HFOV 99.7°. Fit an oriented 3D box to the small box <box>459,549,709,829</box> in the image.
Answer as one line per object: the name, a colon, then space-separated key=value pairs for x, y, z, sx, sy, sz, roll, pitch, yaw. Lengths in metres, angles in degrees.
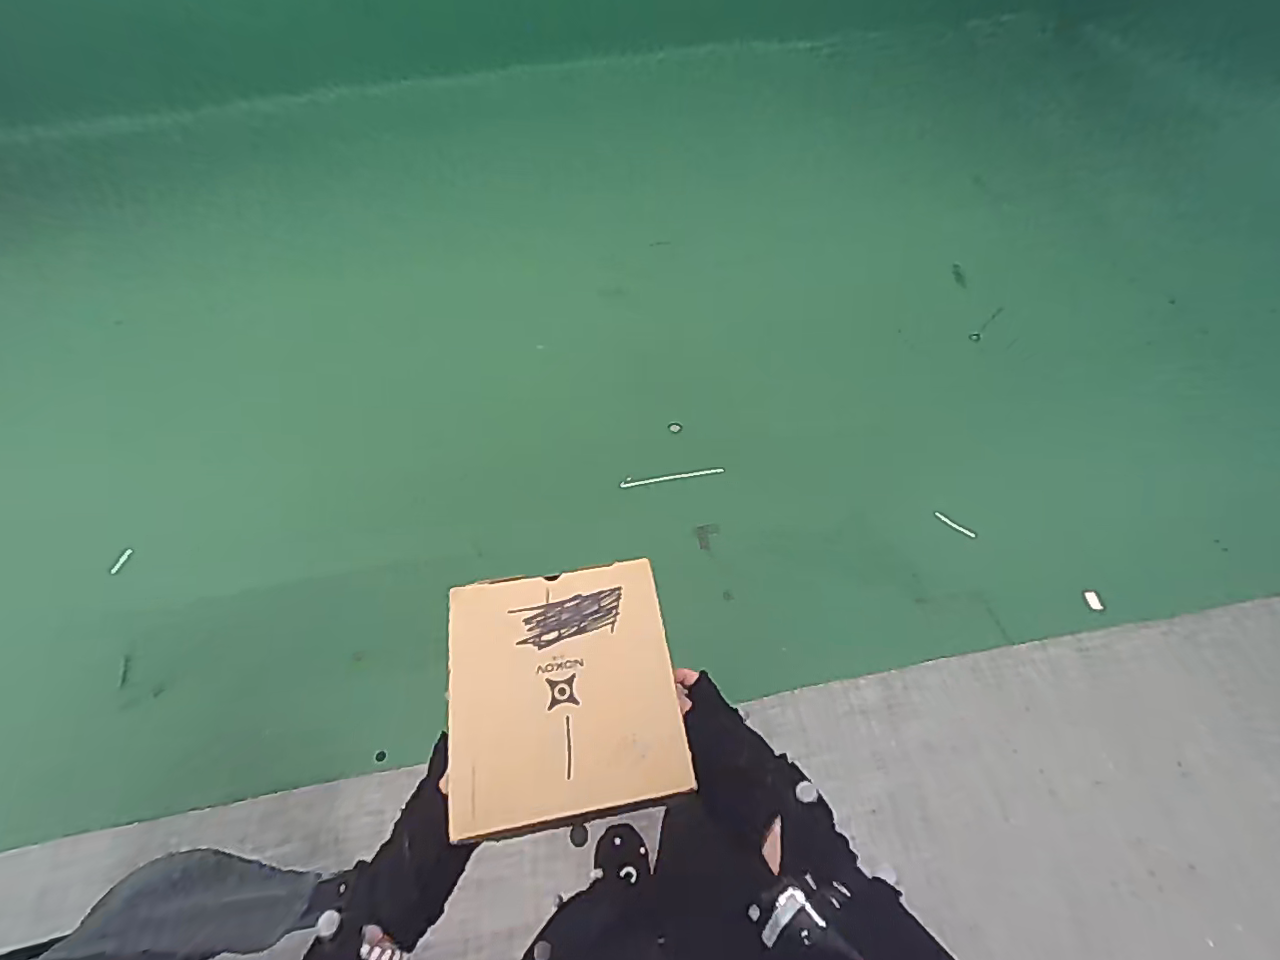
small box: x=-0.051 y=0.181 z=0.461 sx=0.168 sy=0.176 sz=0.179 roll=-6 pitch=57 yaw=-7
